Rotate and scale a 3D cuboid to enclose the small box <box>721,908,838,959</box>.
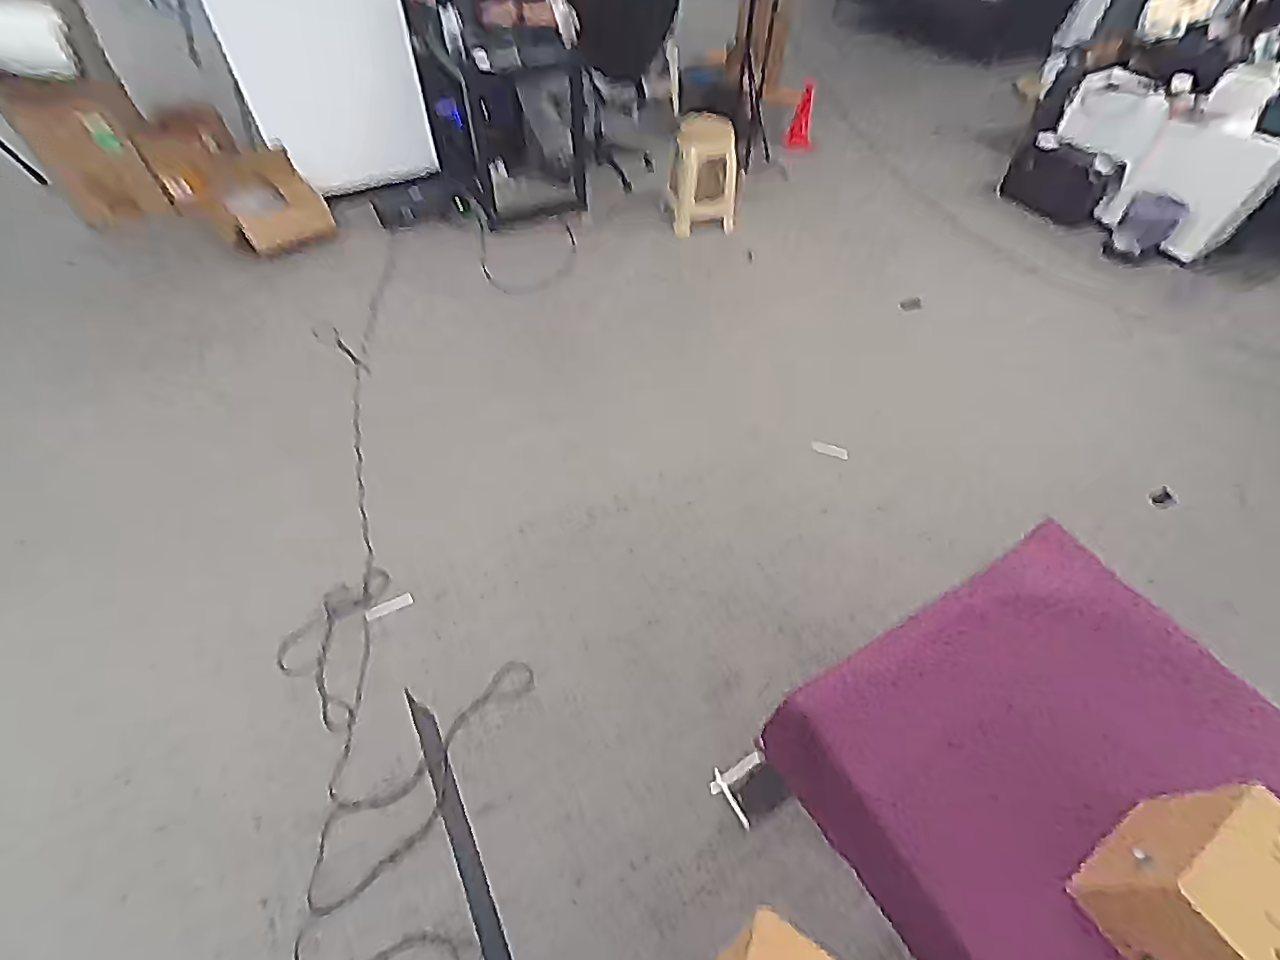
[{"bbox_3d":[0.163,0.643,0.602,0.179,0.176,0.168,26,35,20],"label":"small box"}]
